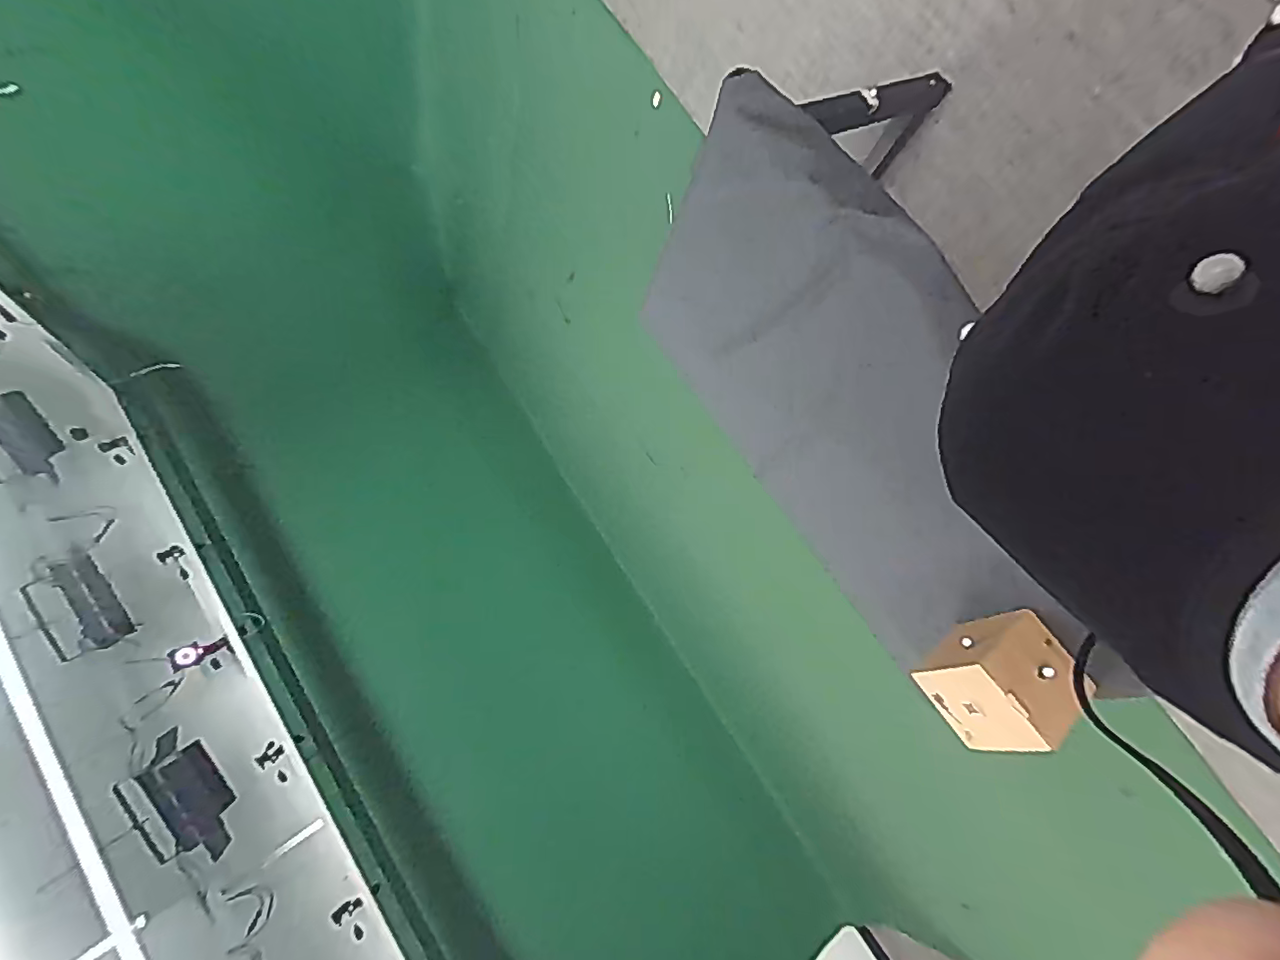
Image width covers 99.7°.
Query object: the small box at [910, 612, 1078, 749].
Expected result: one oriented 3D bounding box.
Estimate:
[{"bbox_3d":[0.650,0.363,0.989,0.168,0.176,0.179,54,152,12],"label":"small box"}]
